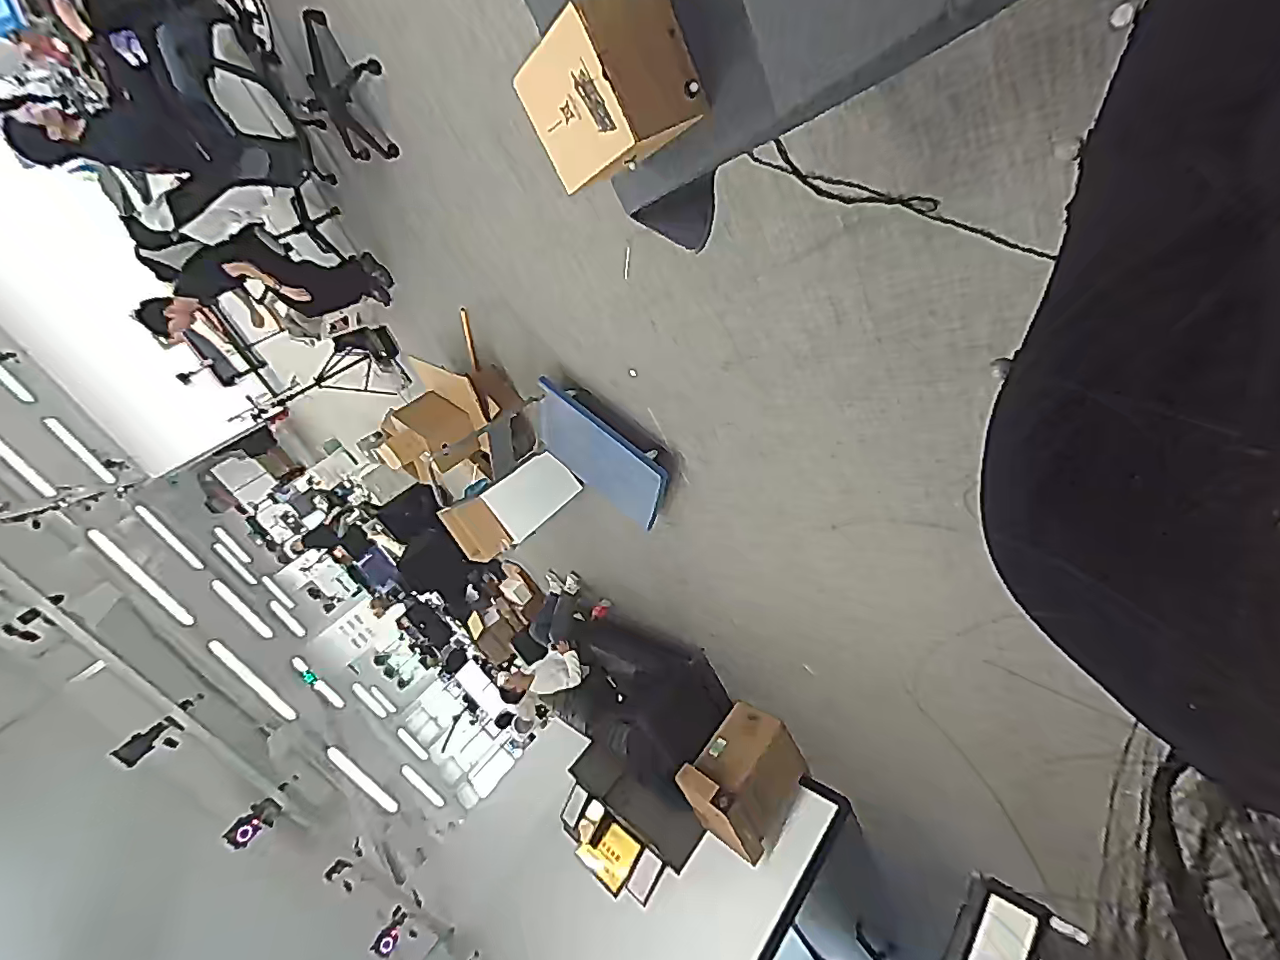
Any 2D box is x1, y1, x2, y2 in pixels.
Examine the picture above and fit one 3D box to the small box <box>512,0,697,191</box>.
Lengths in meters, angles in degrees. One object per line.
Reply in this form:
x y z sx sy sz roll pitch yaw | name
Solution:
-0.041 -0.553 0.770 0.179 0.176 0.168 2 128 52 | small box
